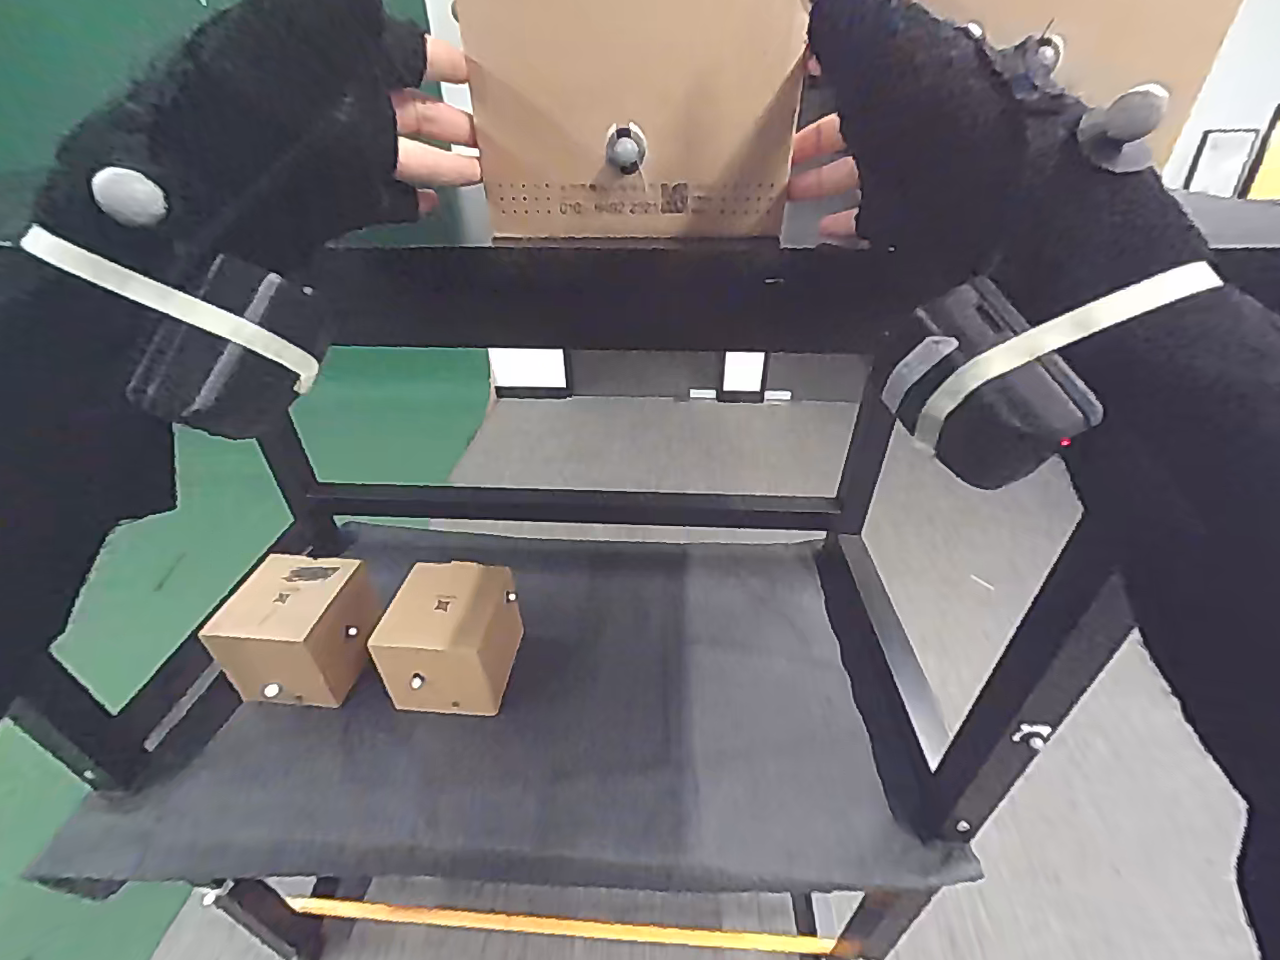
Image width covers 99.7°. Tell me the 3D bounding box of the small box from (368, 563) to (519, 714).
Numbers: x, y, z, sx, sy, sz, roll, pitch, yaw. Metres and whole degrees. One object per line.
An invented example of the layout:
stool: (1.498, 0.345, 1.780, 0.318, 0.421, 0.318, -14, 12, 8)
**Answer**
small box: (-0.306, 0.260, 0.890, 0.168, 0.176, 0.179, 2, 34, 4)

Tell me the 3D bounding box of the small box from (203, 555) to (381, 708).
small box: (-0.559, 0.249, 0.903, 0.168, 0.176, 0.179, 2, 35, 4)

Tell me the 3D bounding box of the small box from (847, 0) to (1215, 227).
small box: (0.249, -0.282, 0.379, 0.168, 0.176, 0.179, 8, 35, 12)
